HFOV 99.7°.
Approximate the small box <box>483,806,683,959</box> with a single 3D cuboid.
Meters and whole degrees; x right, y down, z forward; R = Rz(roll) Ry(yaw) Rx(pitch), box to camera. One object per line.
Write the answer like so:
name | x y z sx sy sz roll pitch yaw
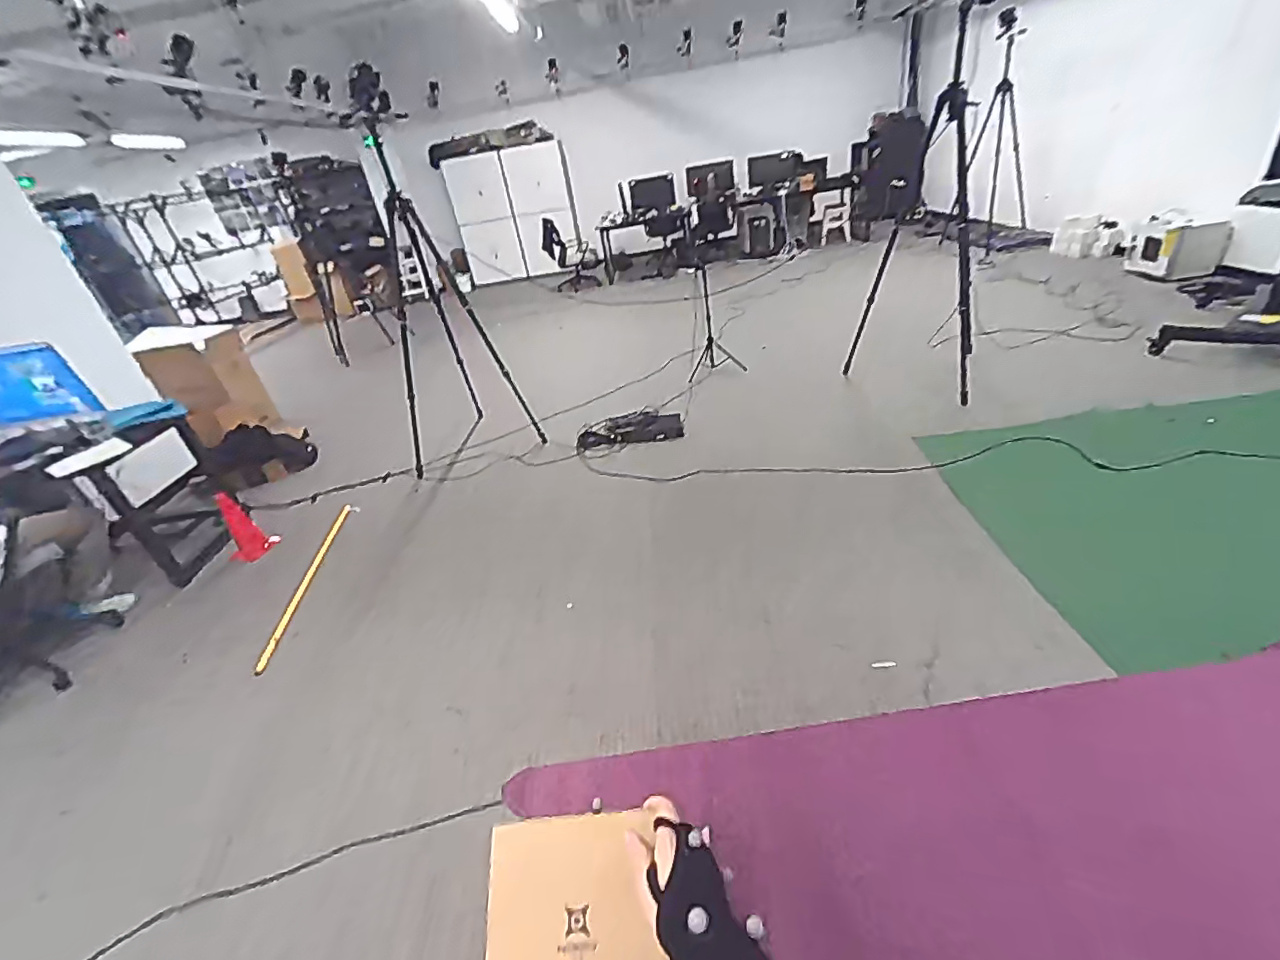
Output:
small box | -0.049 0.437 0.548 0.168 0.176 0.179 -8 61 5
